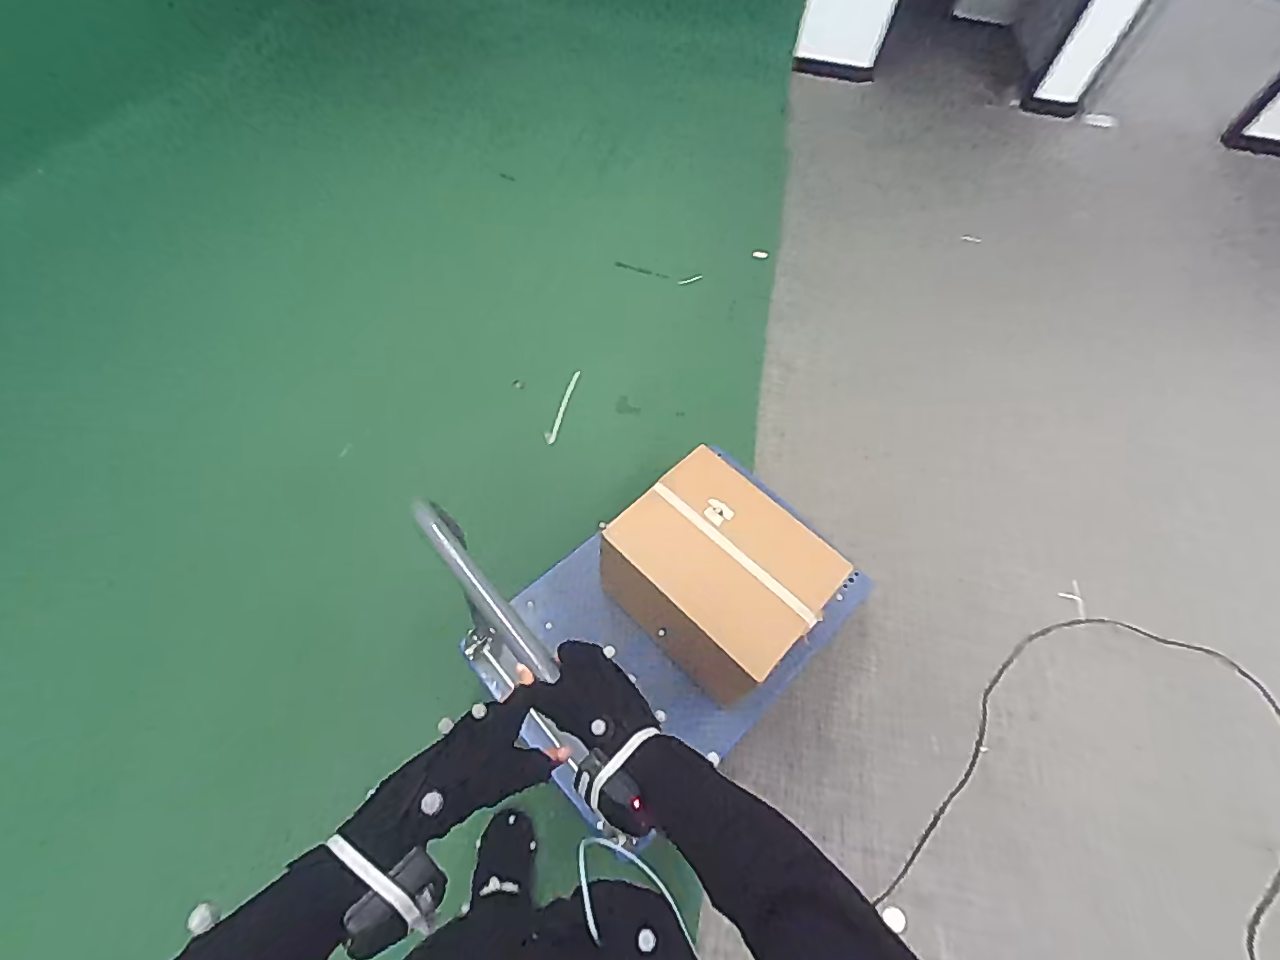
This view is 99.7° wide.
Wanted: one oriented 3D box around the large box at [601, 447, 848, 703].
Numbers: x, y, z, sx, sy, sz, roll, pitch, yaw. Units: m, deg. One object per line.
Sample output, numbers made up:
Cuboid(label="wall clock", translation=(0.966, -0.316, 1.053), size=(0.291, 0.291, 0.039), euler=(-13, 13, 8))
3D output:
Cuboid(label="large box", translation=(0.161, 0.213, 1.195), size=(0.408, 0.320, 0.320), euler=(41, 63, 19))
